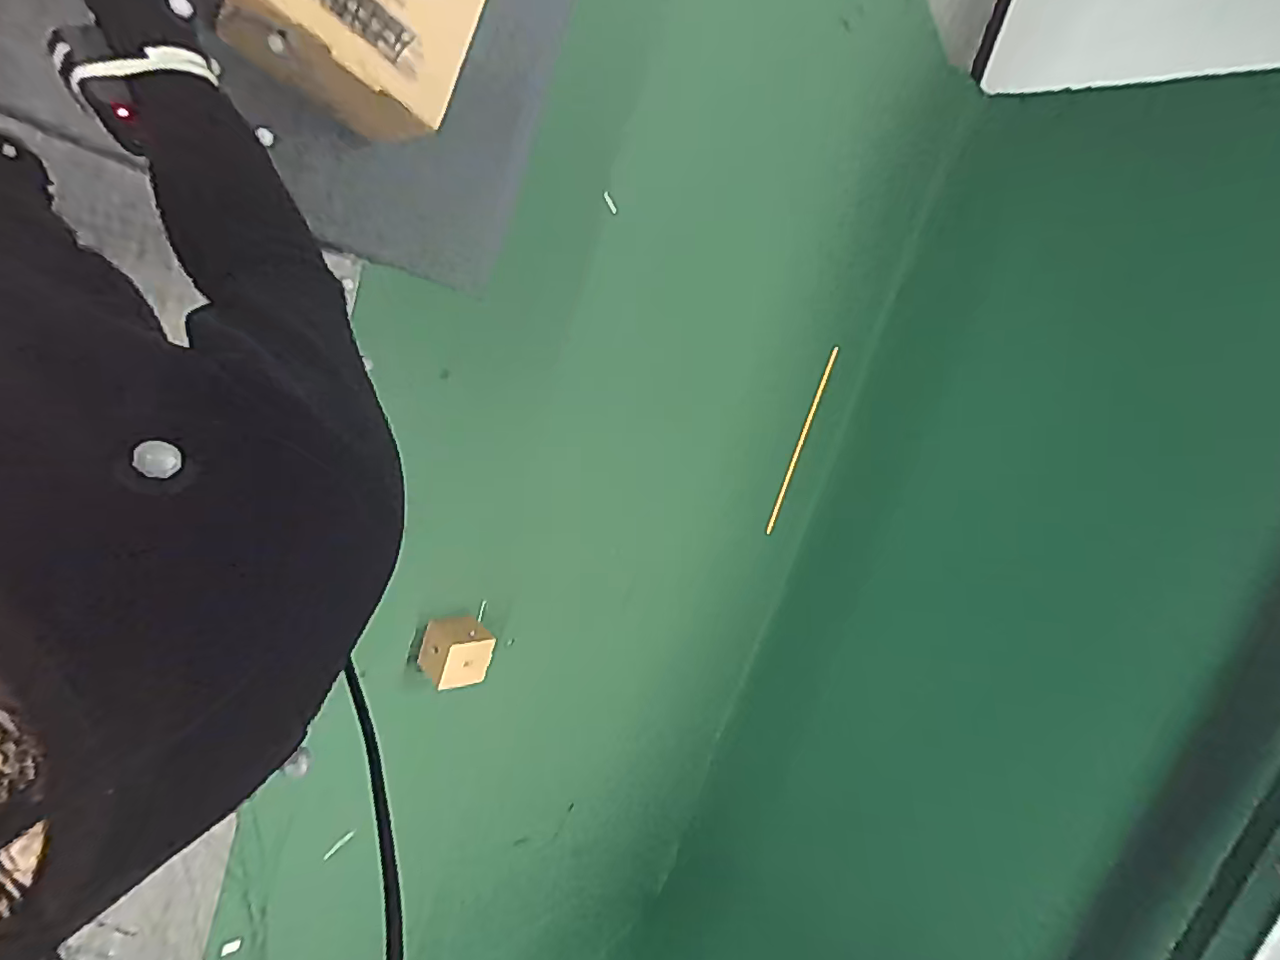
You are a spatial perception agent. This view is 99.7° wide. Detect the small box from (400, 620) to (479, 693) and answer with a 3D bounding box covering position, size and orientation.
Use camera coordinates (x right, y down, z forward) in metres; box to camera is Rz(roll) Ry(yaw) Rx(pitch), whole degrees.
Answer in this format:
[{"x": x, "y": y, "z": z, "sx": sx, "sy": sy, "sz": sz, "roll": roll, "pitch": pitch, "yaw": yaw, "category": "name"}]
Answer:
[{"x": -0.690, "y": 0.596, "z": 1.850, "sx": 0.179, "sy": 0.176, "sz": 0.168, "roll": 10, "pitch": 102, "yaw": -52, "category": "small box"}]
